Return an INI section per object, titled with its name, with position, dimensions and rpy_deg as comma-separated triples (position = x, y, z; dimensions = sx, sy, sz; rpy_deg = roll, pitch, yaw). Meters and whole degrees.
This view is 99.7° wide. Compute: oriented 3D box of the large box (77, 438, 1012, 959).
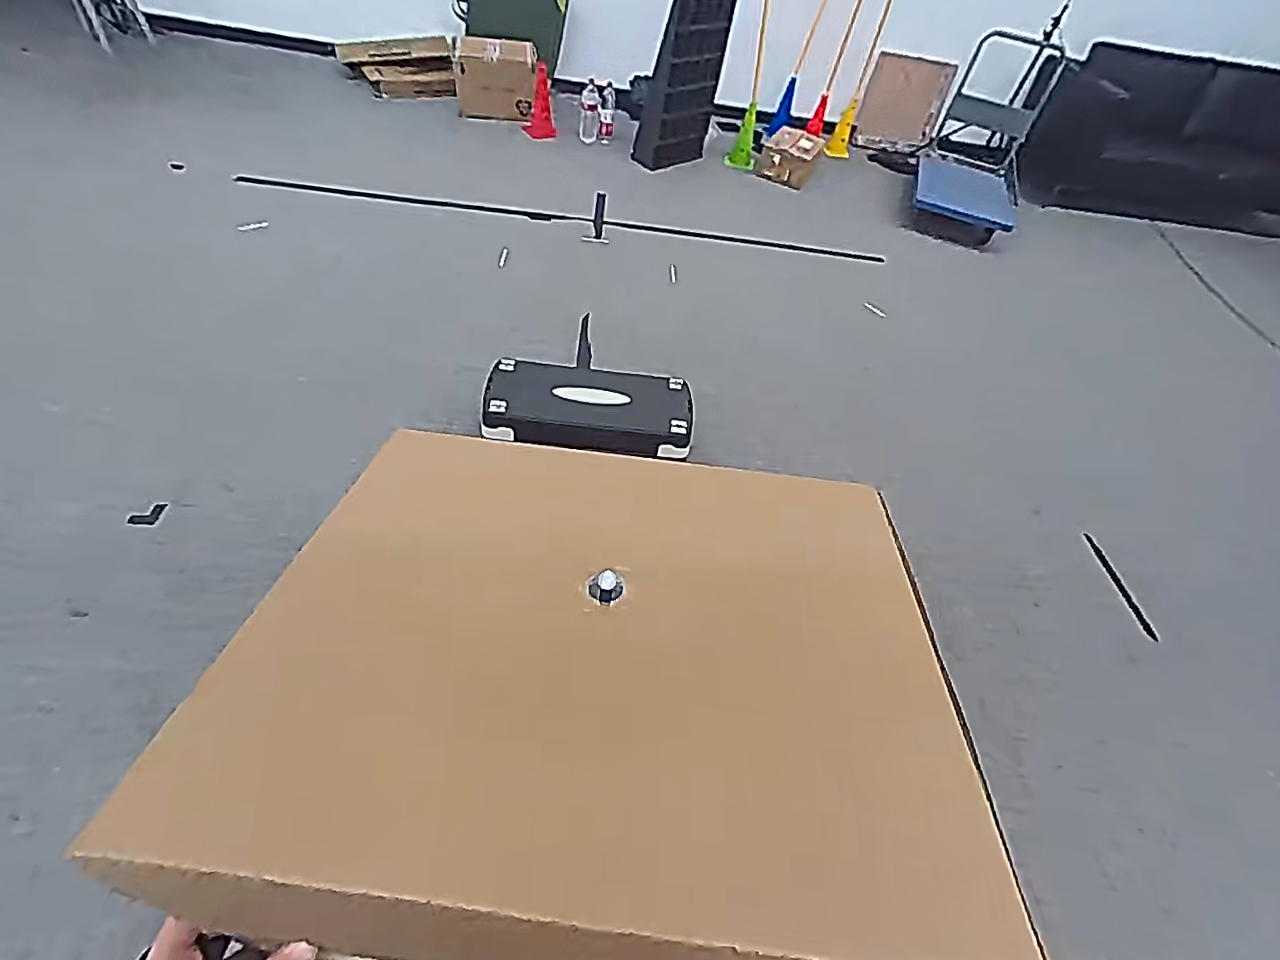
[large box]
position = -0.042, 0.186, 0.432
dimensions = 0.408, 0.320, 0.320
rpy_deg = 5, 42, 2

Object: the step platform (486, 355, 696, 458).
[step platform]
position = -0.155, -0.213, 1.805
dimensions = 0.684, 0.204, 0.286
rpy_deg = 10, 51, -3
